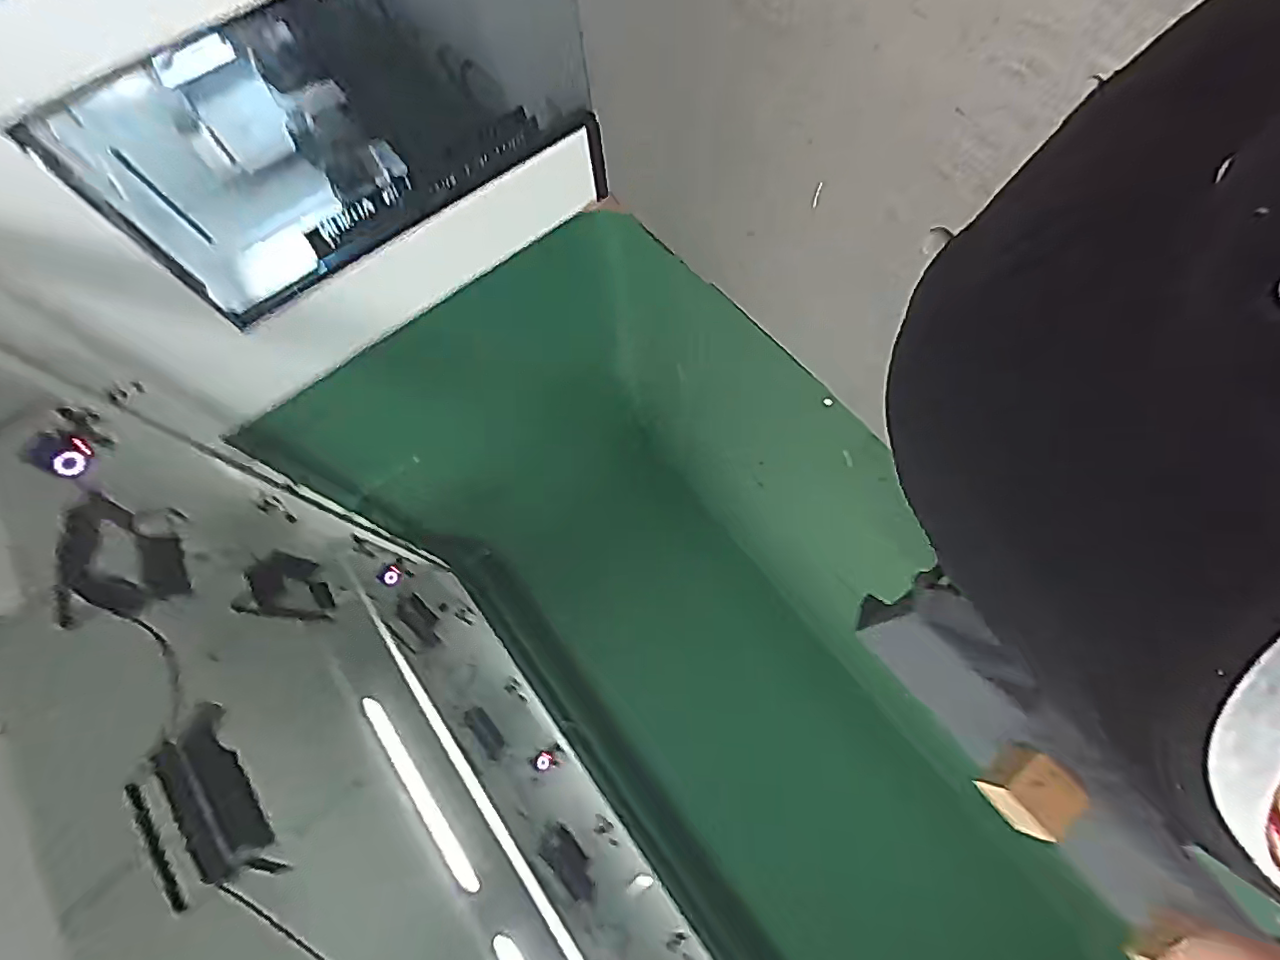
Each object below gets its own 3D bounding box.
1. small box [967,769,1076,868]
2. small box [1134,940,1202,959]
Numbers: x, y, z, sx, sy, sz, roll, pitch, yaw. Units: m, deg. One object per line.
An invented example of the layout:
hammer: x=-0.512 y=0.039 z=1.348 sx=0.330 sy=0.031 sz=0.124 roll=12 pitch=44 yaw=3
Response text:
small box: x=1.114 y=0.974 z=1.577 sx=0.168 sy=0.176 sz=0.179 roll=51 pitch=170 yaw=20
small box: x=1.426 y=1.356 z=1.403 sx=0.168 sy=0.176 sz=0.179 roll=51 pitch=168 yaw=19
